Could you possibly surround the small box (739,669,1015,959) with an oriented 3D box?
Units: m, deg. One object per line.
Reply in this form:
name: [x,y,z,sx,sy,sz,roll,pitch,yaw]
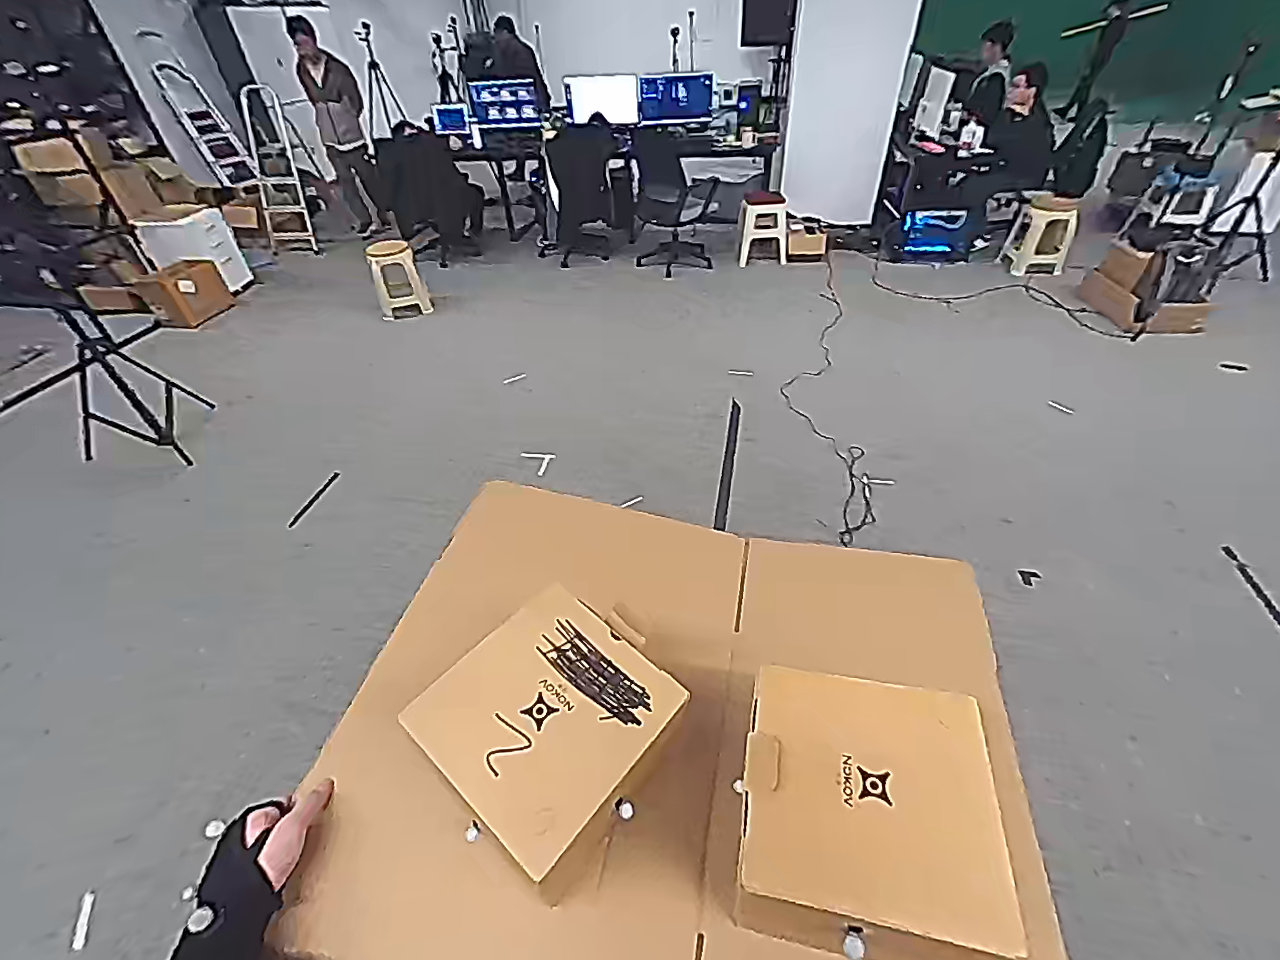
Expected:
small box: [0.182,0.291,0.470,0.179,0.176,0.168,4,45,15]
